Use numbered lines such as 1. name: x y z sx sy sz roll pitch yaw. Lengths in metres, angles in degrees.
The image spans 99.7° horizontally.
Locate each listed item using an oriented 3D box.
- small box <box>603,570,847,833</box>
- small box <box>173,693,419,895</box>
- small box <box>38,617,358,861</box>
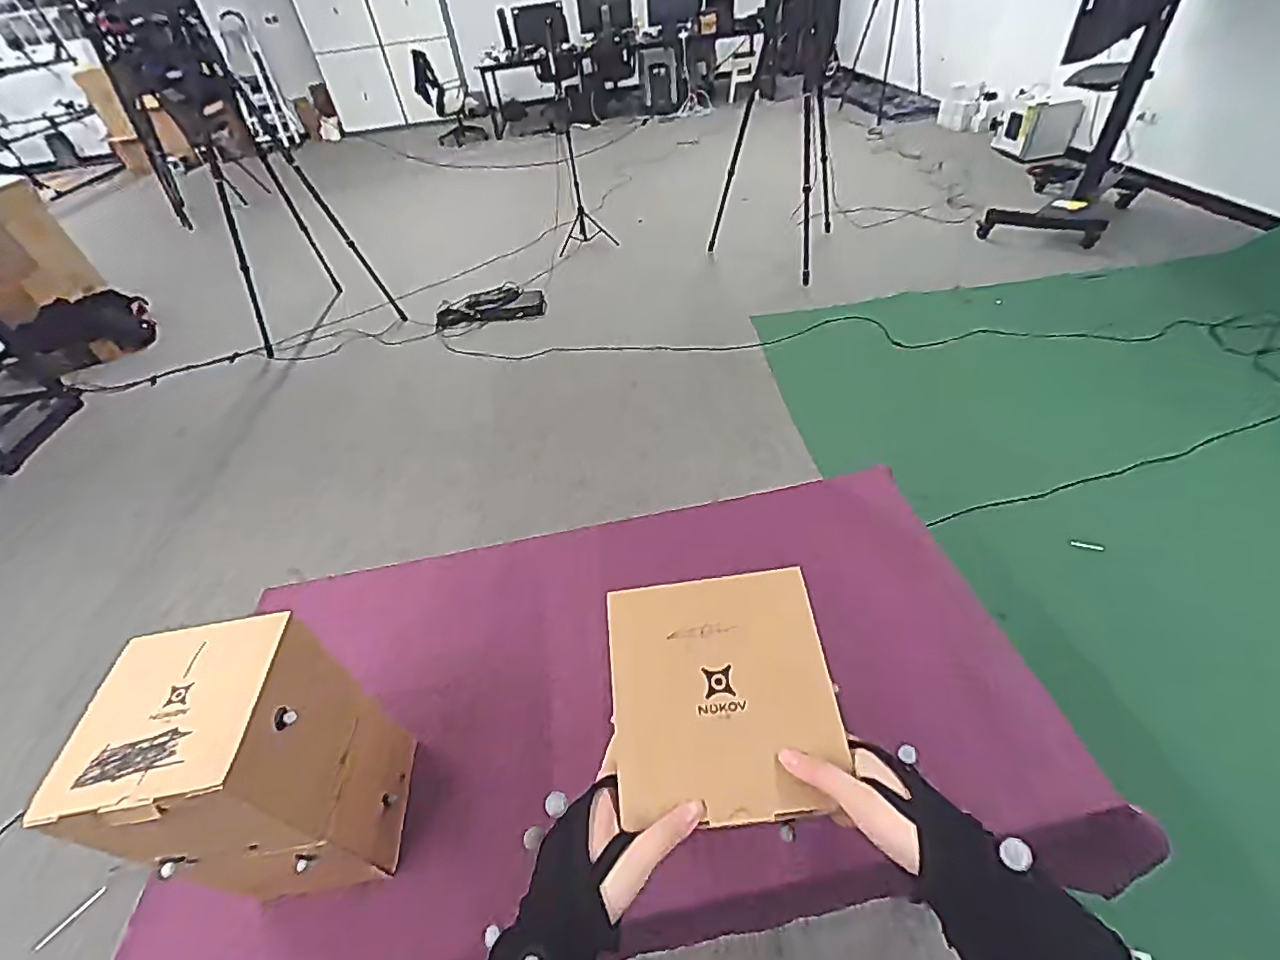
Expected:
1. small box: 0.066 0.200 0.479 0.168 0.176 0.179 -8 56 4
2. small box: -0.407 0.396 0.679 0.179 0.176 0.168 -10 43 -1
3. small box: -0.428 0.275 0.569 0.168 0.176 0.179 -10 42 -2
